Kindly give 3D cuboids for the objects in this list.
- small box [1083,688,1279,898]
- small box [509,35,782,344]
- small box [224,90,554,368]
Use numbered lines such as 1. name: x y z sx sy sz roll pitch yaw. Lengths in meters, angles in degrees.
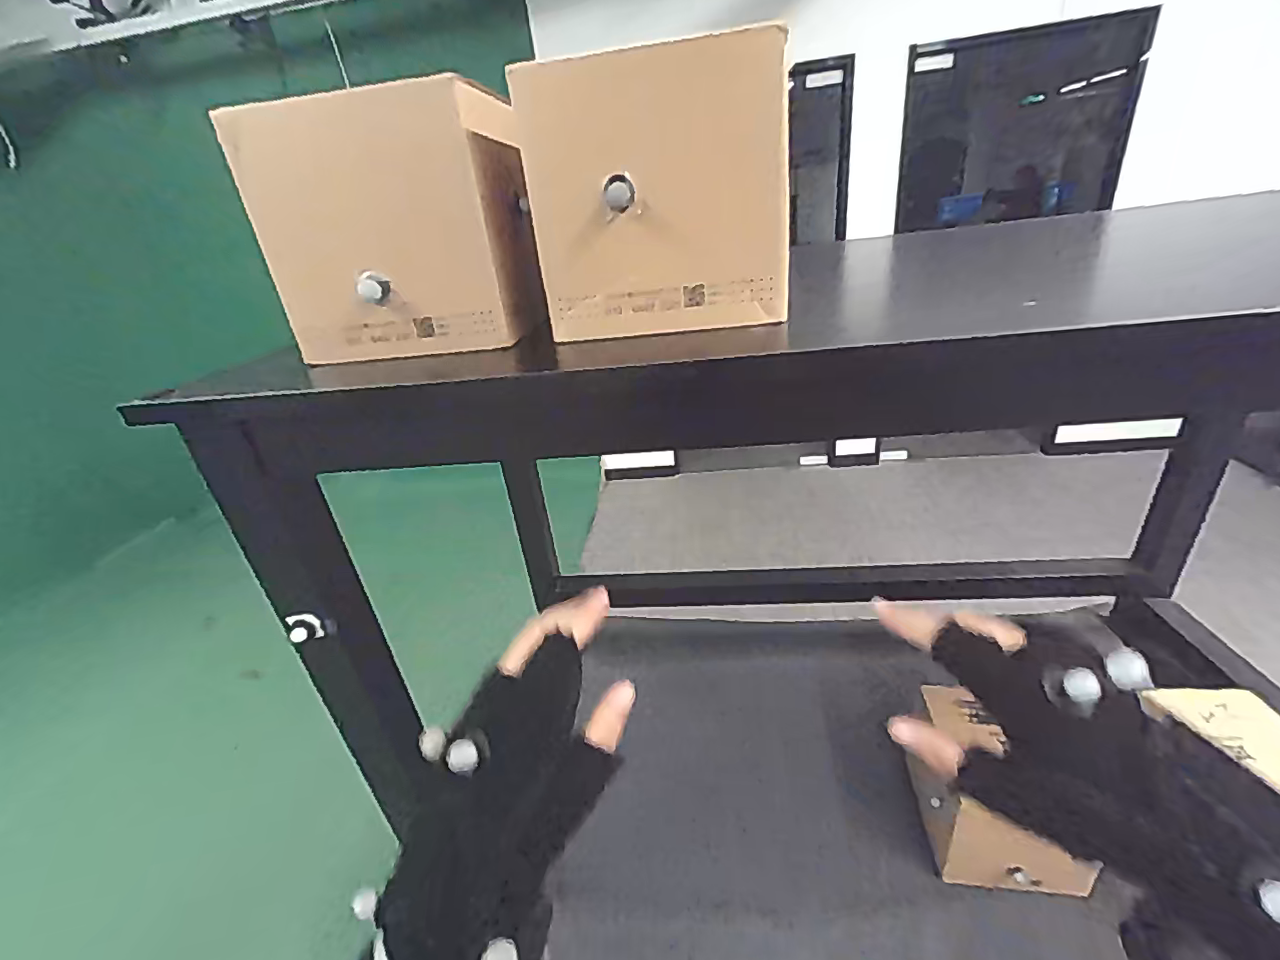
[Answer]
1. small box: 0.714 0.390 0.681 0.168 0.176 0.179 -3 26 8
2. small box: 0.018 -0.208 0.424 0.168 0.176 0.179 -3 27 8
3. small box: -0.176 -0.199 0.449 0.168 0.176 0.179 -4 28 7
